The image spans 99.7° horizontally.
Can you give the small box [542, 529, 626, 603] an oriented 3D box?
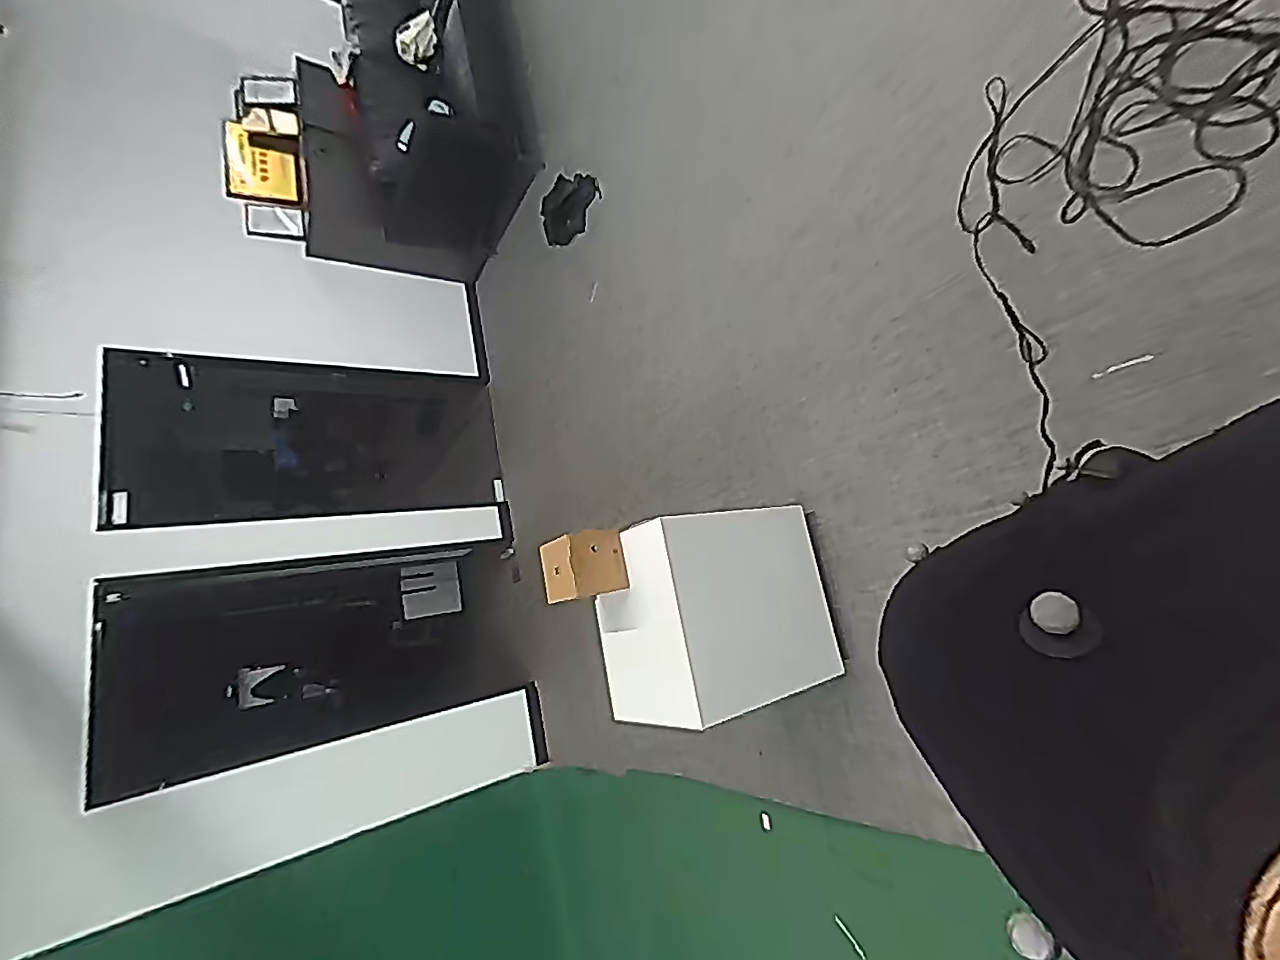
[{"bbox_3d":[-0.149,0.237,1.493,0.179,0.176,0.168,-29,68,52],"label":"small box"}]
